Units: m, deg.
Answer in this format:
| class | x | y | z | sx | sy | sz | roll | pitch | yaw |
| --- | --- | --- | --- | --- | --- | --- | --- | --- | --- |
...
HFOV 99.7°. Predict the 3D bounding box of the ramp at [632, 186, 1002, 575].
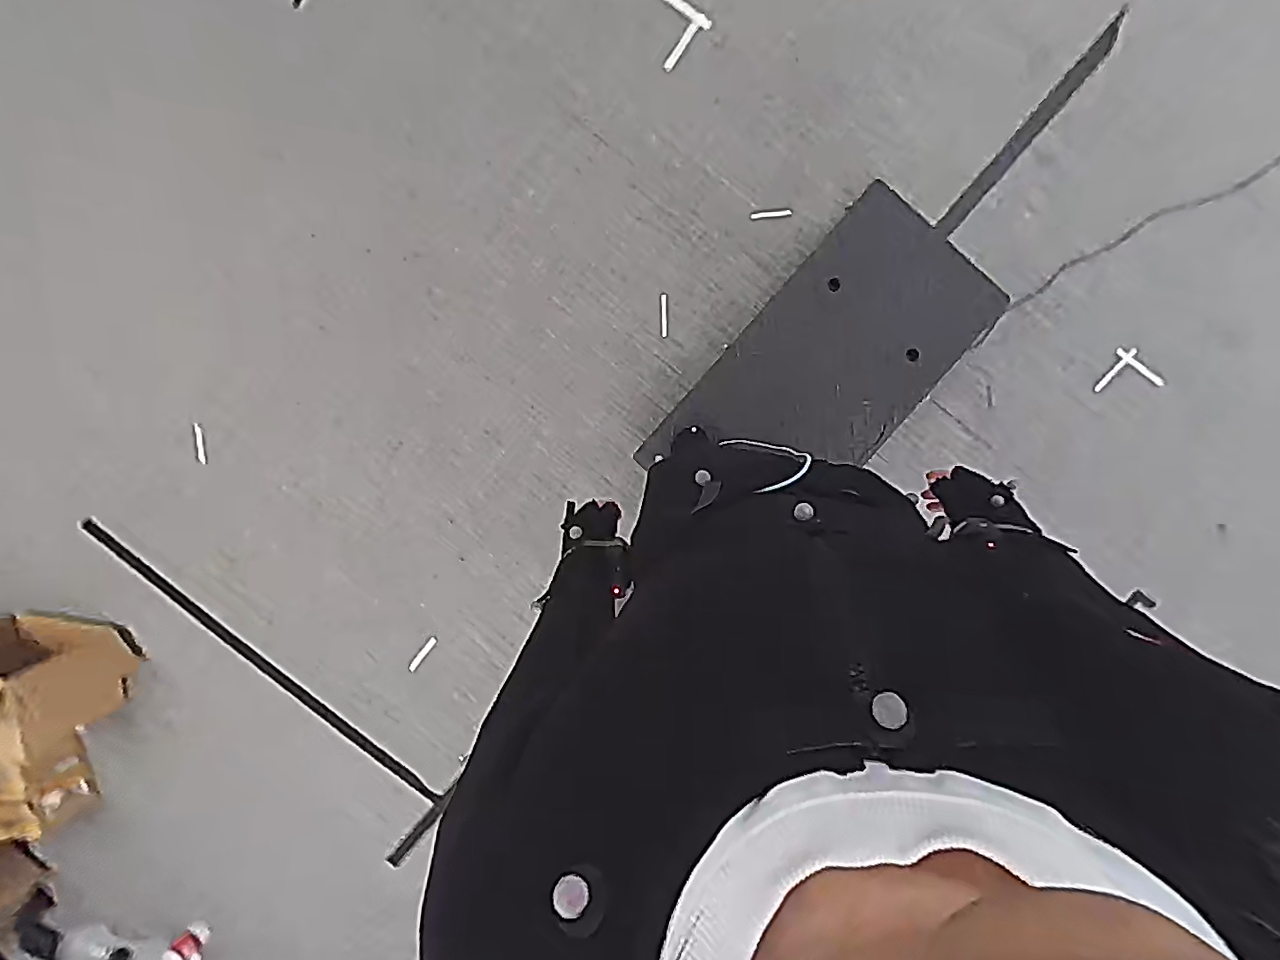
| class | x | y | z | sx | sy | sz | roll | pitch | yaw |
| --- | --- | --- | --- | --- | --- | --- | --- | --- | --- |
| ramp | 0.476 | -0.272 | 1.463 | 0.509 | 0.206 | 0.991 | 39 | 100 | 0 |
